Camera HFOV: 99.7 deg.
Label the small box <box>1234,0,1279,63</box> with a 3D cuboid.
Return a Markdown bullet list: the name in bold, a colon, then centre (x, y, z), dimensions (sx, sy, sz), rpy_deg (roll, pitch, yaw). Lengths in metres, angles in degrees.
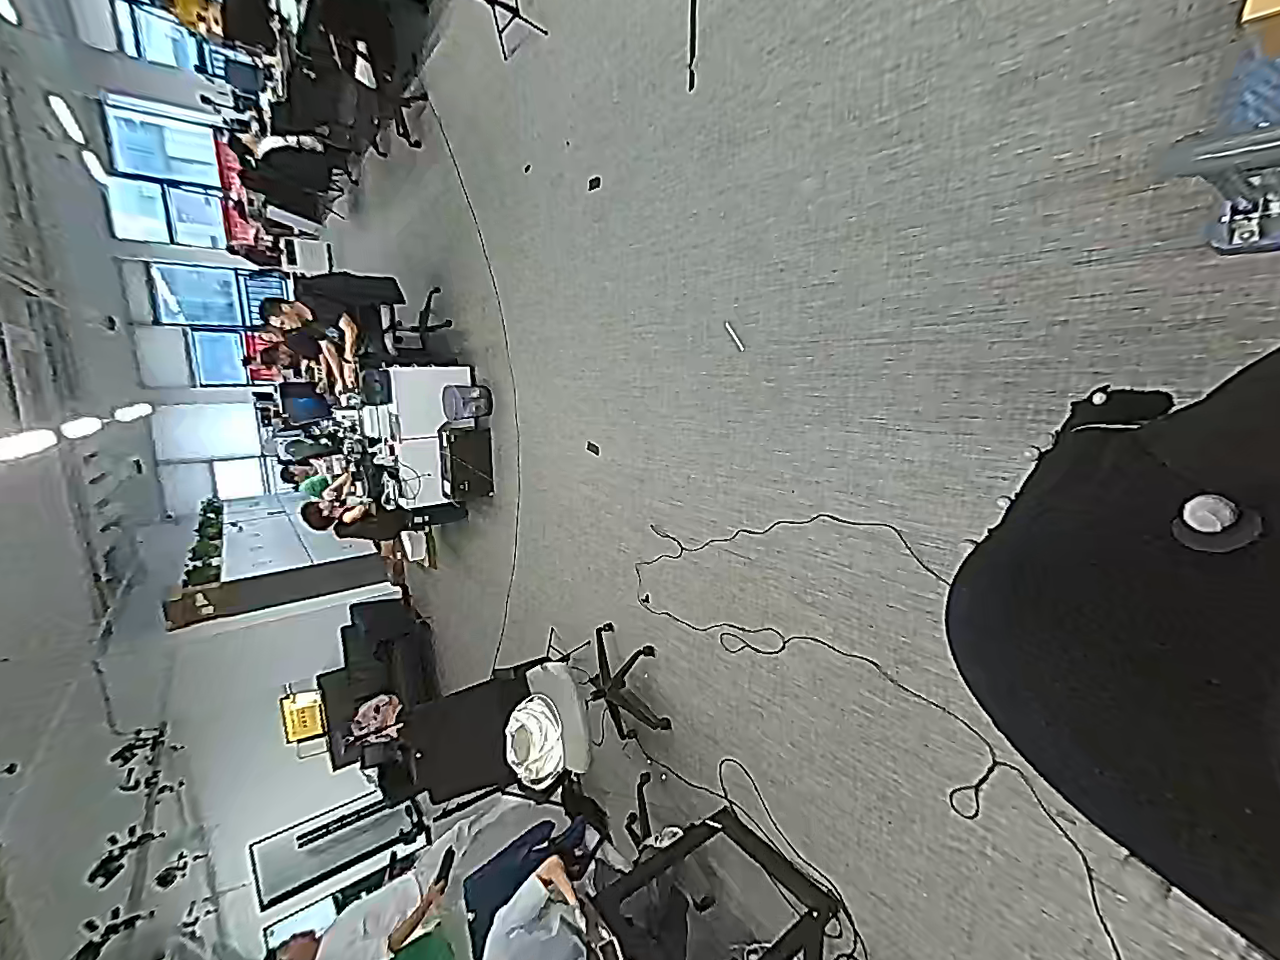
- **small box**: centre (0.955, -0.706, 0.726), dimensions (0.179, 0.176, 0.168), rpy_deg (17, 110, 49)
